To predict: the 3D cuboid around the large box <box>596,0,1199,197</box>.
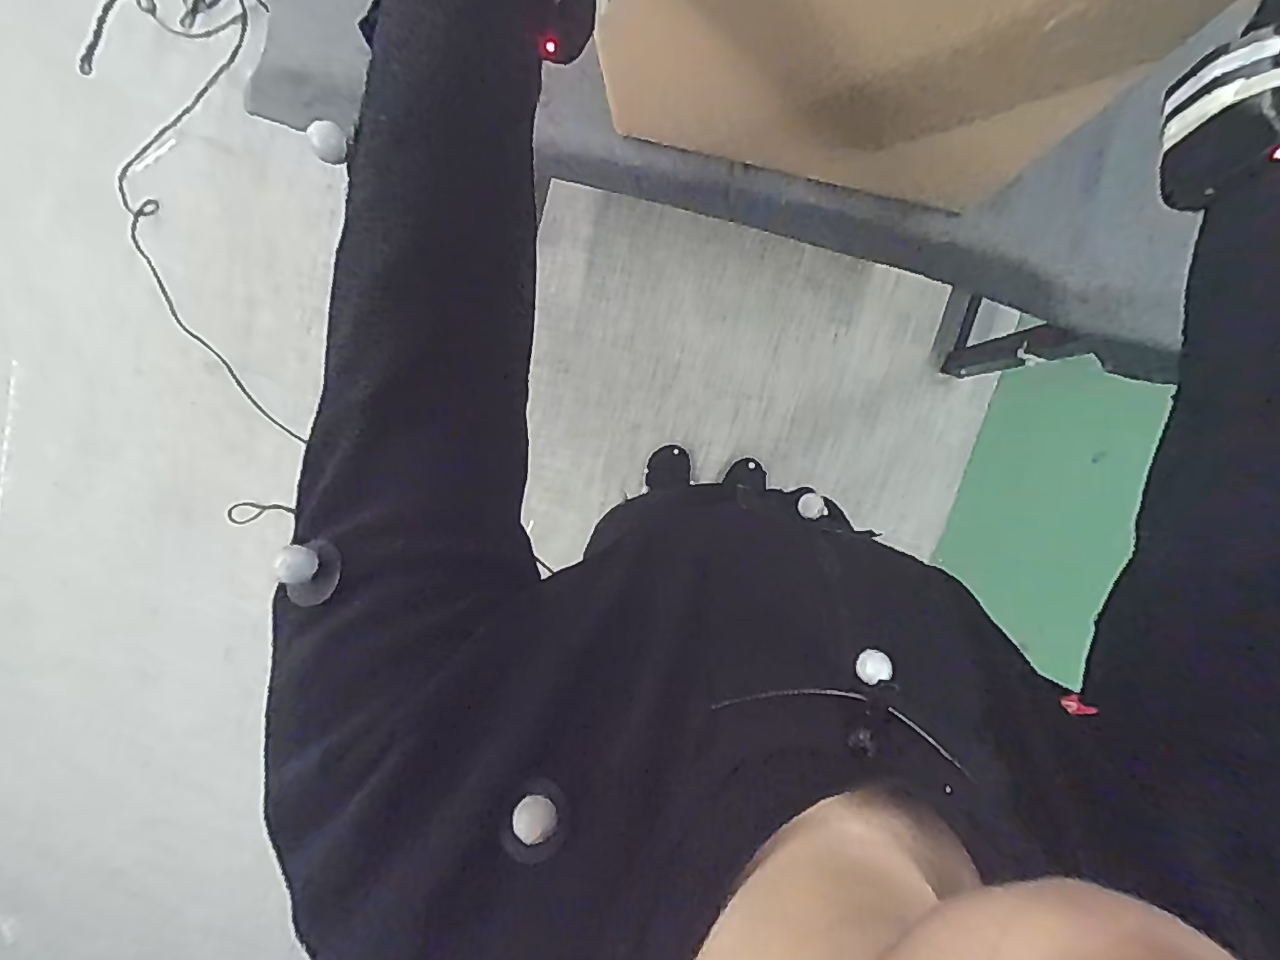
[{"bbox_3d":[0.189,-0.485,0.438,0.408,0.320,0.320,14,95,3],"label":"large box"}]
